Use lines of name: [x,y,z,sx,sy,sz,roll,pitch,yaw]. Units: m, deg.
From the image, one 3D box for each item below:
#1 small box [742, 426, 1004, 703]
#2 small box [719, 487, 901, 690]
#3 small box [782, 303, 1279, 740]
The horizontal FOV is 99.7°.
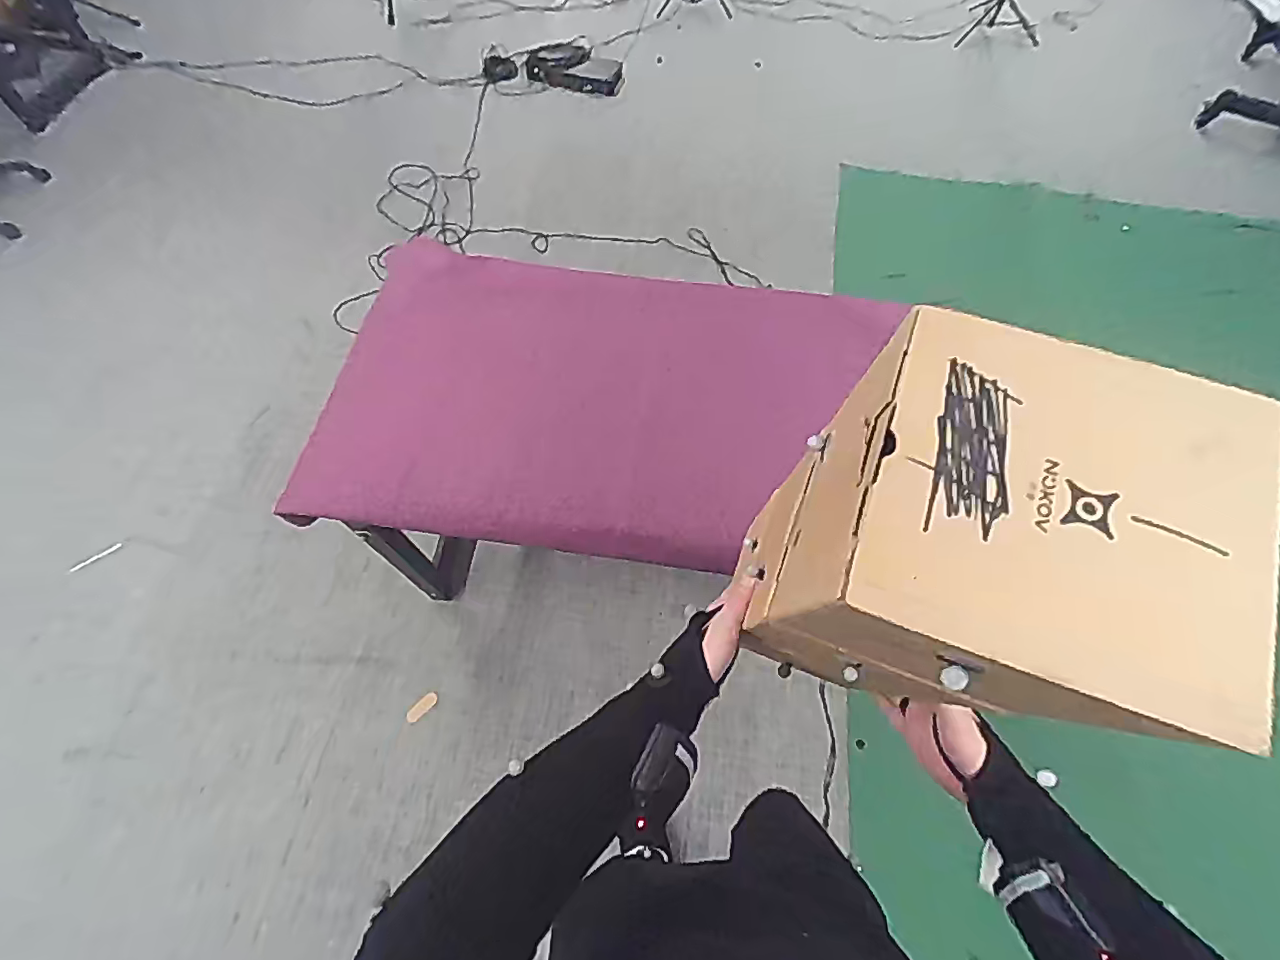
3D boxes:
small box: [0.203,0.080,0.483,0.179,0.176,0.168,21,75,8]
small box: [0.206,0.130,0.639,0.179,0.176,0.168,19,74,7]
small box: [0.201,0.030,0.327,0.179,0.176,0.168,19,76,8]
